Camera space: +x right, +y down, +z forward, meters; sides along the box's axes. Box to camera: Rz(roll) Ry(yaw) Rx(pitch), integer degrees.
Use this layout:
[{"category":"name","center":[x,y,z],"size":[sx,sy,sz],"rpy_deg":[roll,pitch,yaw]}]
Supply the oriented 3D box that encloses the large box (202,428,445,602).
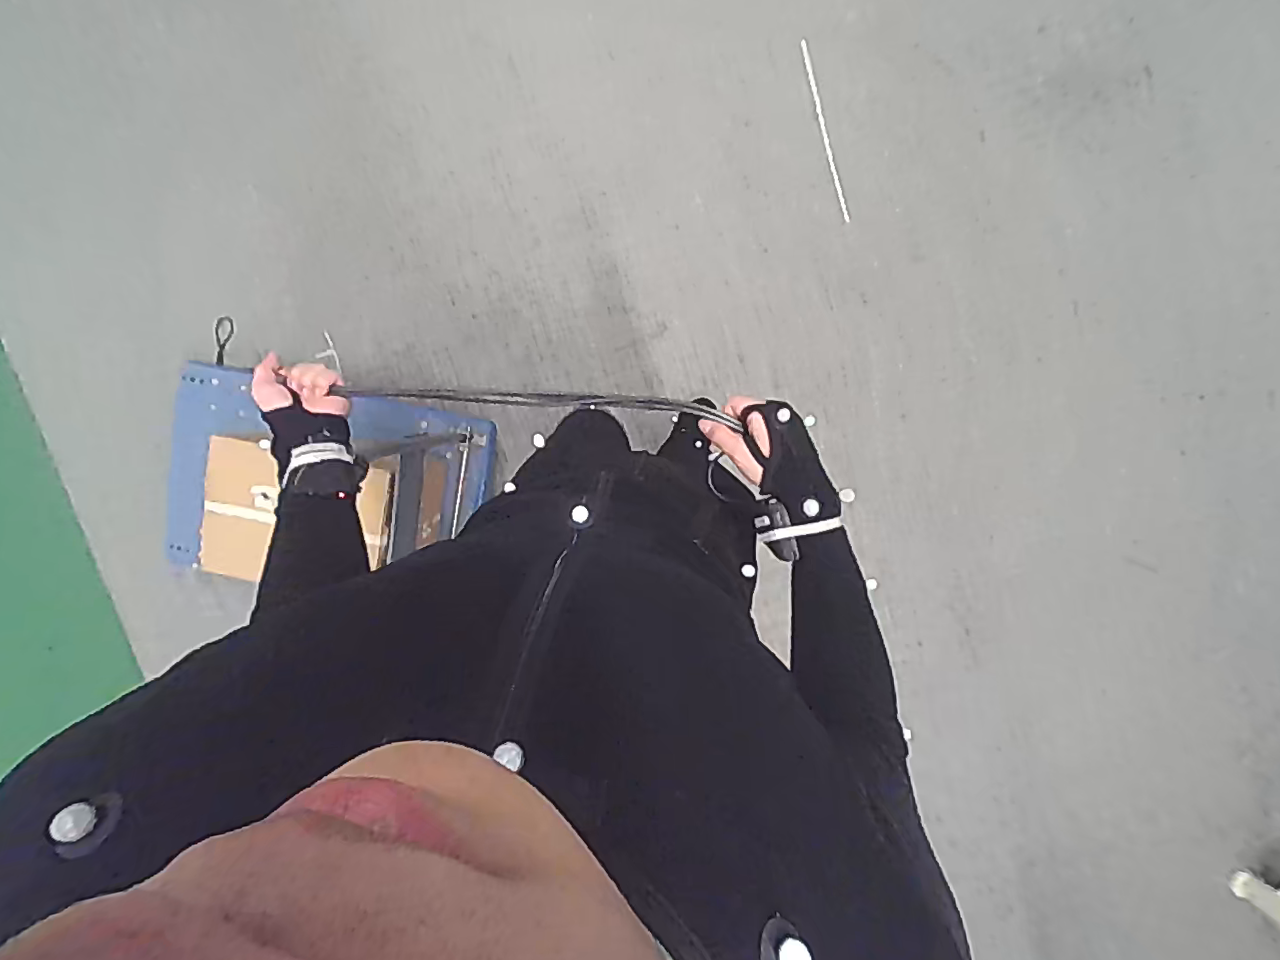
[{"category":"large box","center":[-0.743,0.065,1.319],"size":[0.408,0.320,0.320],"rpy_deg":[12,98,2]}]
